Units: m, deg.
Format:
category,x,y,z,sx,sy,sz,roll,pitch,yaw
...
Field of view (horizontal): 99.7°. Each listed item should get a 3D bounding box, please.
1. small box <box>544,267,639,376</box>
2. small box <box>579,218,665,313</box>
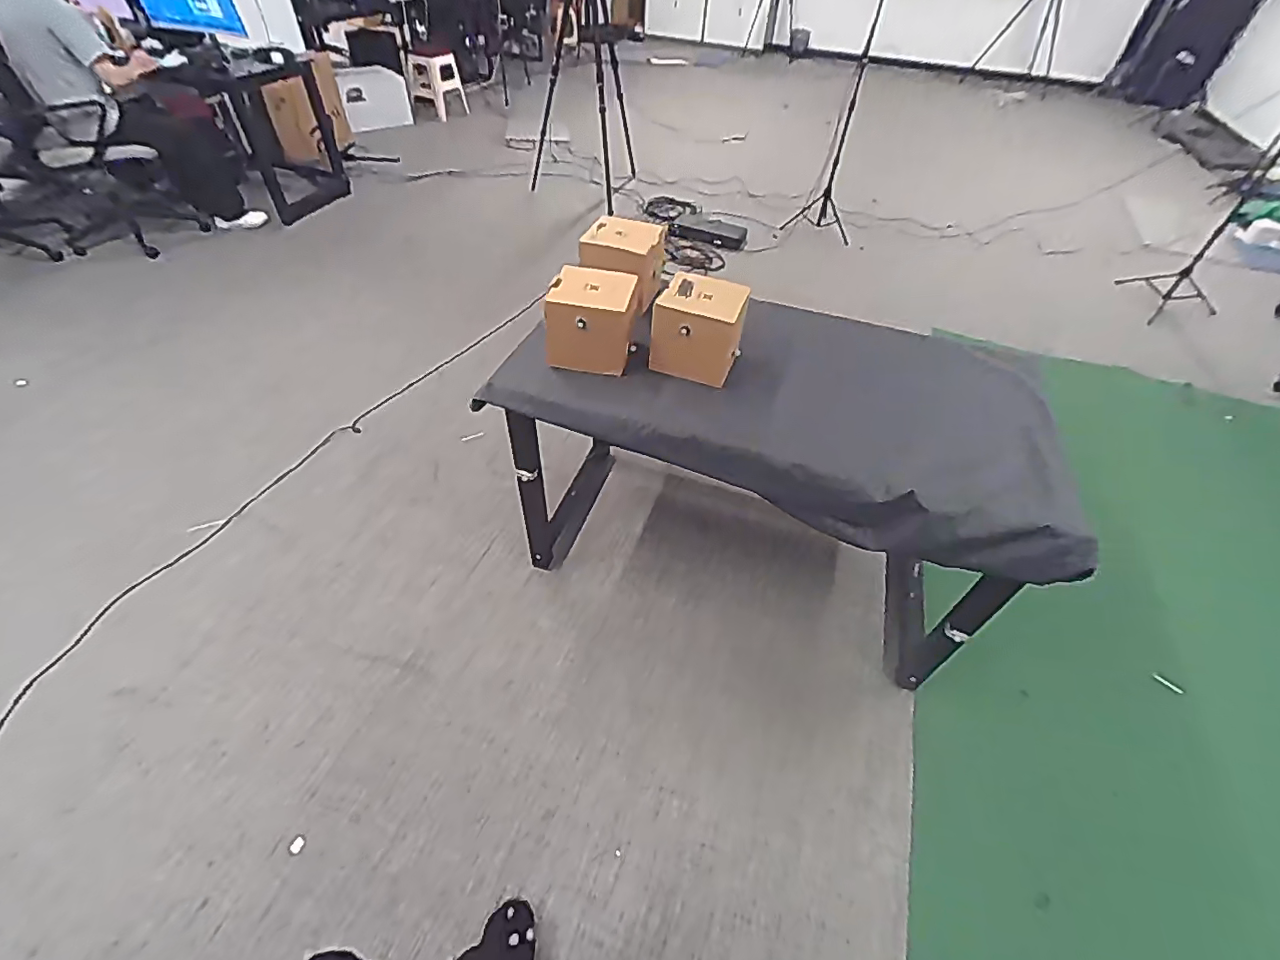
category,x,y,z,sx,sy,sz,roll,pitch,yaw
small box,-0.107,-0.355,1.223,0.179,0.176,0.168,10,48,3
small box,-0.047,-0.552,1.409,0.179,0.176,0.168,17,49,10
